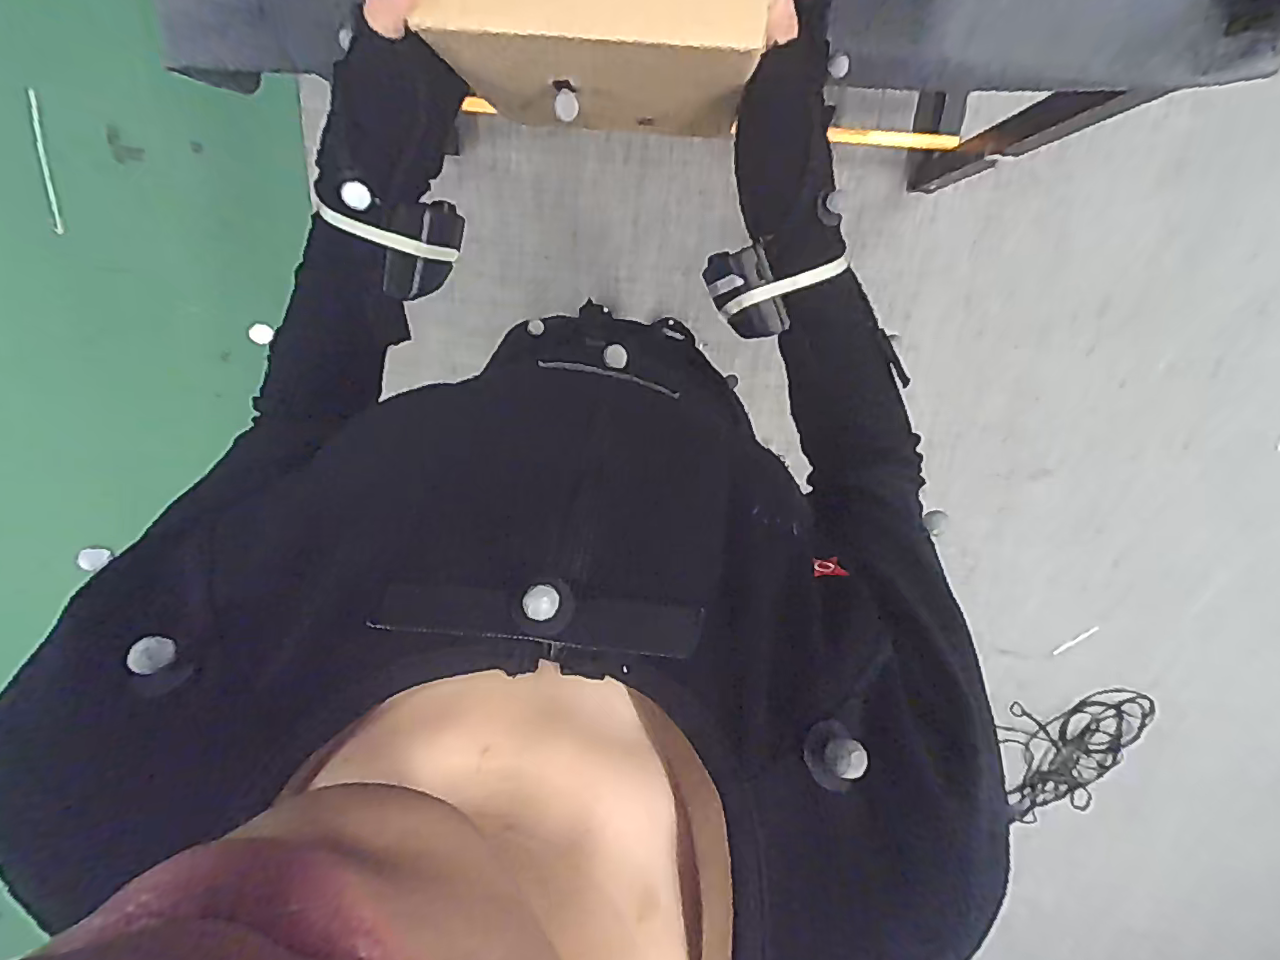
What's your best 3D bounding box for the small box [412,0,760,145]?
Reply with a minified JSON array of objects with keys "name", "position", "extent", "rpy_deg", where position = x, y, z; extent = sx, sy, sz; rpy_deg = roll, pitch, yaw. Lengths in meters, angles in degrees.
[{"name":"small box","position":[-0.016,-0.307,0.302],"extent":[0.168,0.176,0.179],"rpy_deg":[5,109,1]}]
